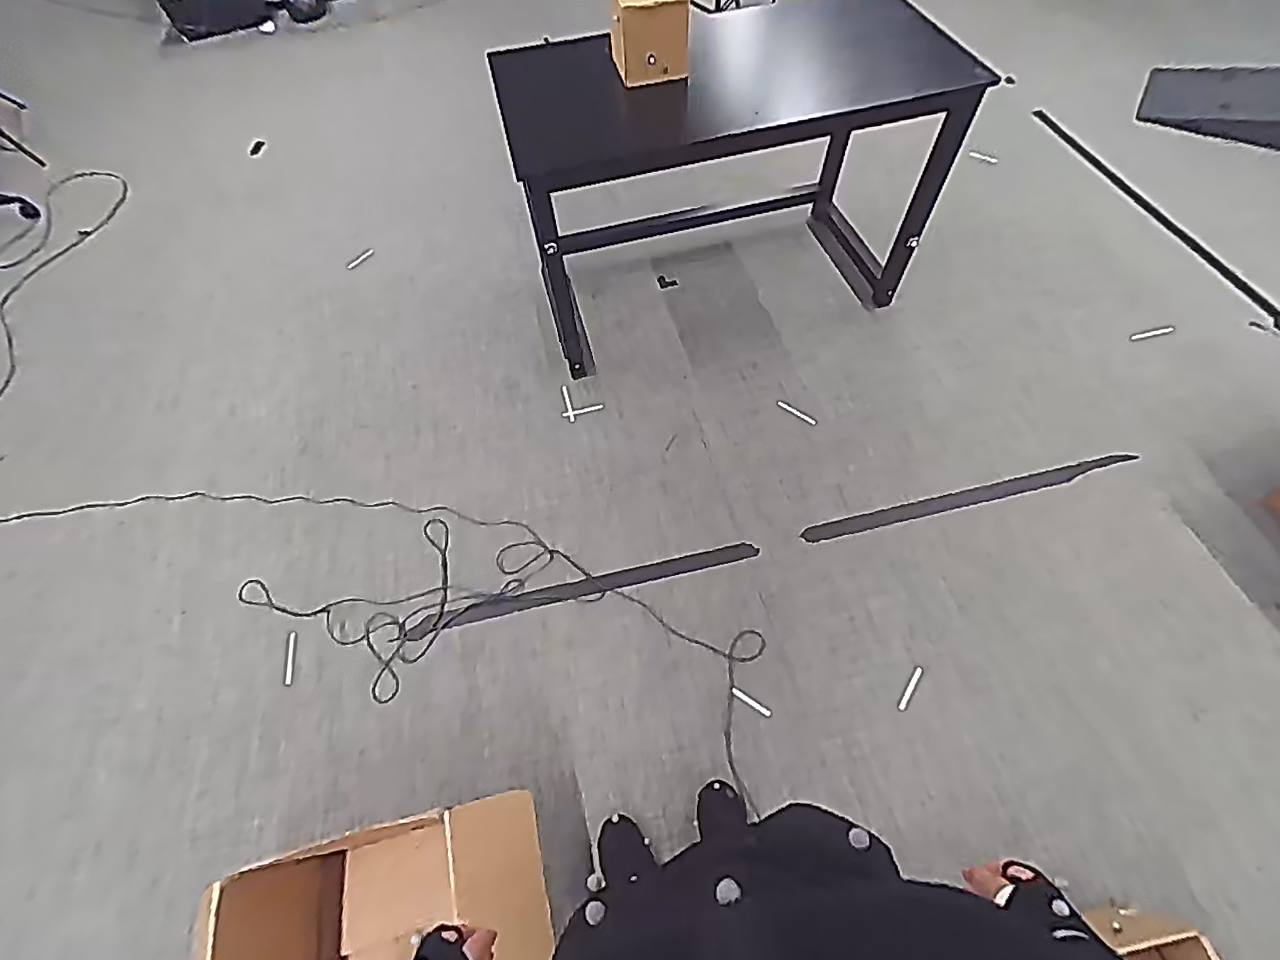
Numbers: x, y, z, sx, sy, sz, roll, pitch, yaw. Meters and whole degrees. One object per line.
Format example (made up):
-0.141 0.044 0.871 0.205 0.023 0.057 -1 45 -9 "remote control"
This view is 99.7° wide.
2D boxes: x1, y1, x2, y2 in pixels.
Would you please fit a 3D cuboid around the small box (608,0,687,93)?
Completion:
0.016 -1.132 1.382 0.168 0.176 0.179 -13 61 -4 "small box"
